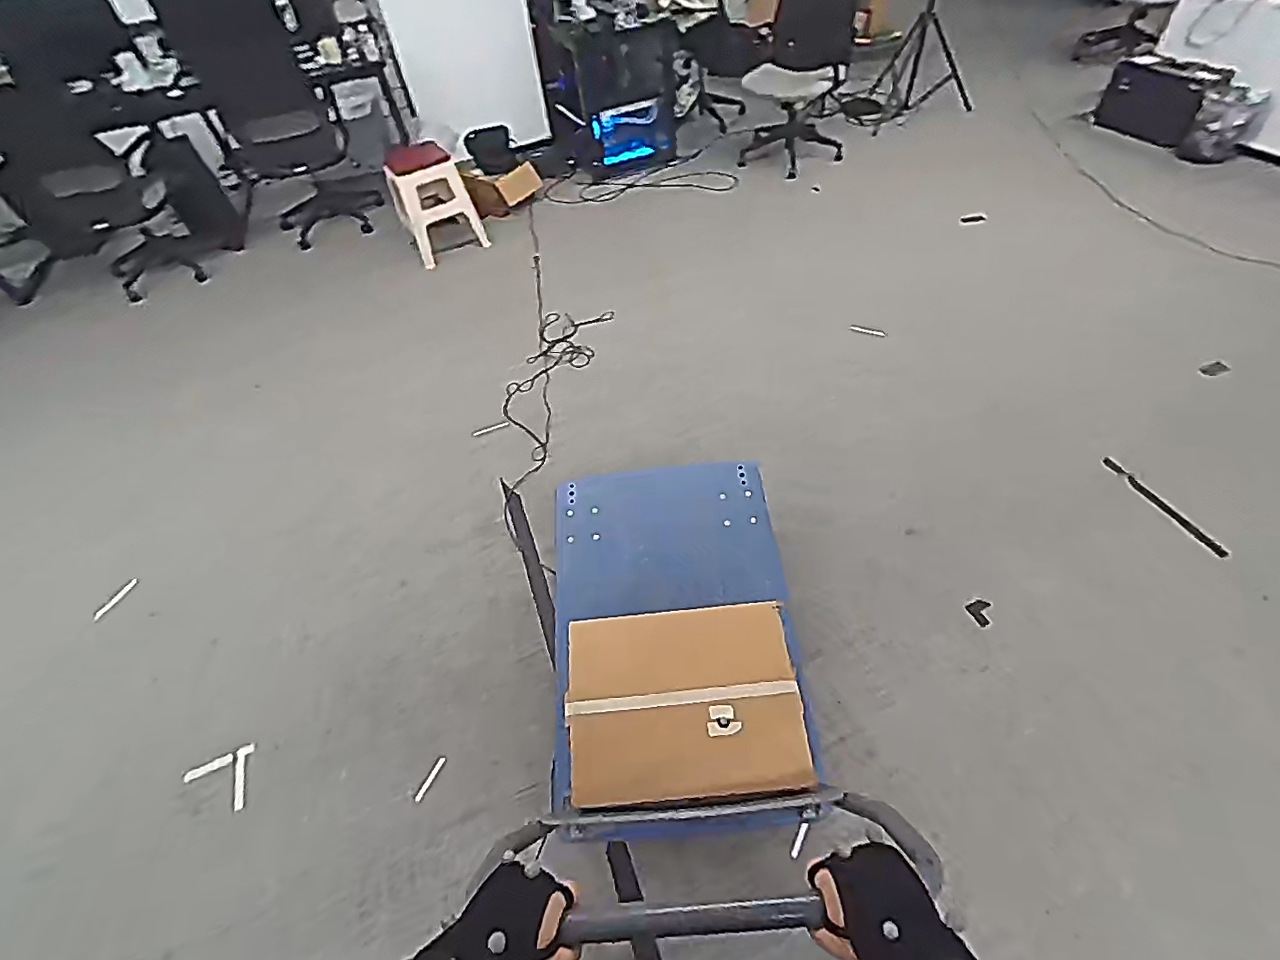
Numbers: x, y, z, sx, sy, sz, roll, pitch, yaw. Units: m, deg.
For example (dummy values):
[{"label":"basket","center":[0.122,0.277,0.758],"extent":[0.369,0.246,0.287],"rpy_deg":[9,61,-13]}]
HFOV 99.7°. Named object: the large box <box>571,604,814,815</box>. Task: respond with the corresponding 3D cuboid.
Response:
[{"label":"large box","center":[0.087,0.472,1.100],"extent":[0.408,0.320,0.320],"rpy_deg":[-7,61,0]}]
